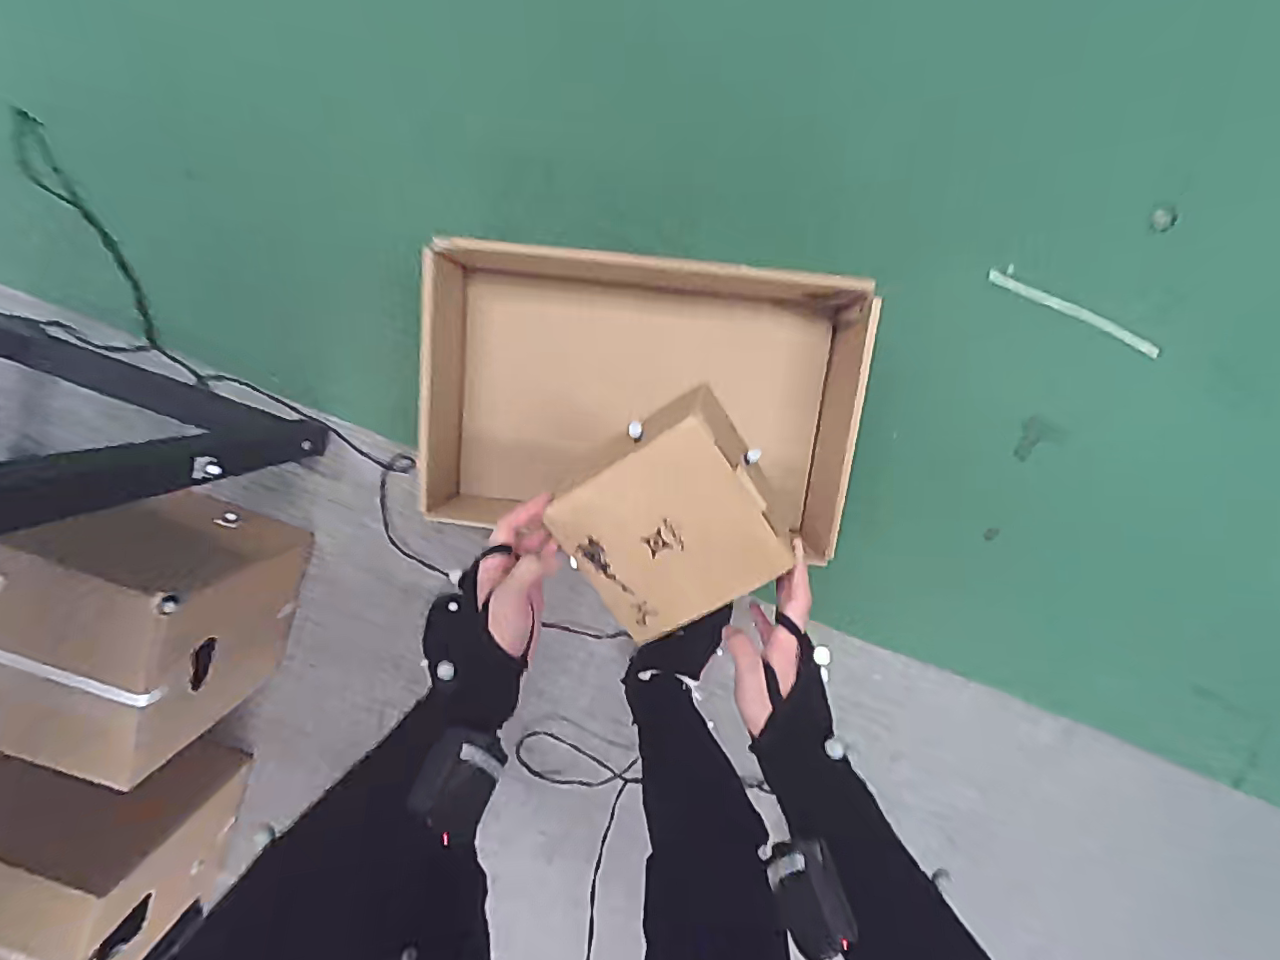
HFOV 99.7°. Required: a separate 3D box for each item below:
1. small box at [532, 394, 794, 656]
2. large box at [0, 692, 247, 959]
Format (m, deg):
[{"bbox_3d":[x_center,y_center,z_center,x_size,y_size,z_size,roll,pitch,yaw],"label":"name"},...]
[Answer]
[{"bbox_3d":[0.027,0.033,0.543,0.179,0.176,0.168,-32,101,17],"label":"small box"},{"bbox_3d":[-1.025,0.653,0.963,0.408,0.320,0.320,23,100,-1],"label":"large box"}]
